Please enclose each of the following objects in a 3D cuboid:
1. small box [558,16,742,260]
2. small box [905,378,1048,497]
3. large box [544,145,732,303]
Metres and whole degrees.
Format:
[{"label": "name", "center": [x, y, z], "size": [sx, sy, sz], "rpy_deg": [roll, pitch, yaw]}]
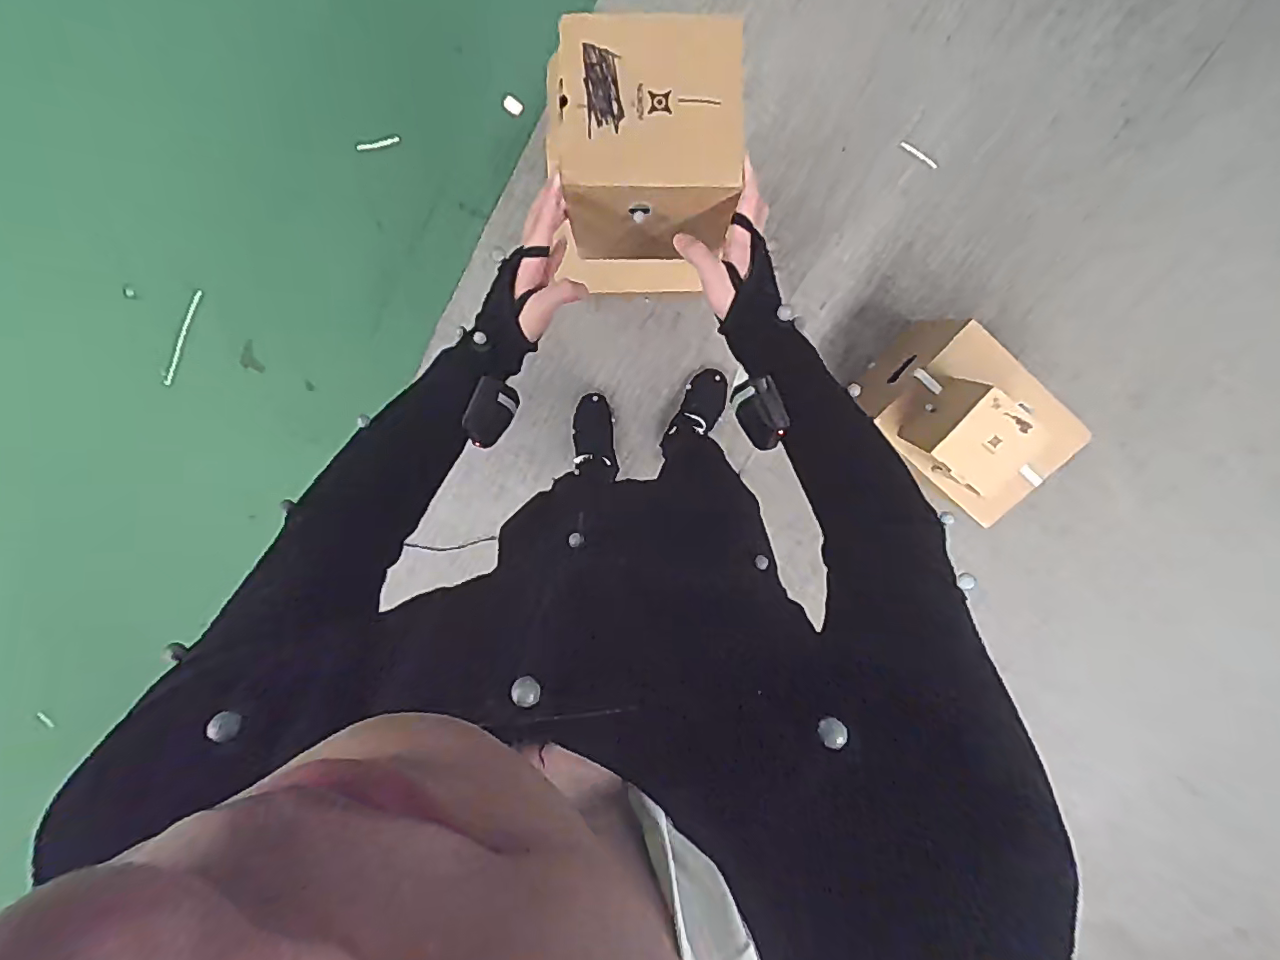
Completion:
[{"label": "small box", "center": [0.009, -0.353, 0.589], "size": [0.179, 0.176, 0.168], "rpy_deg": [-1, 90, -2]}, {"label": "small box", "center": [0.703, -0.099, 1.162], "size": [0.168, 0.176, 0.179], "rpy_deg": [36, 106, -7]}, {"label": "large box", "center": [0.009, -0.603, 1.310], "size": [0.408, 0.320, 0.320], "rpy_deg": [0, 105, 4]}]
